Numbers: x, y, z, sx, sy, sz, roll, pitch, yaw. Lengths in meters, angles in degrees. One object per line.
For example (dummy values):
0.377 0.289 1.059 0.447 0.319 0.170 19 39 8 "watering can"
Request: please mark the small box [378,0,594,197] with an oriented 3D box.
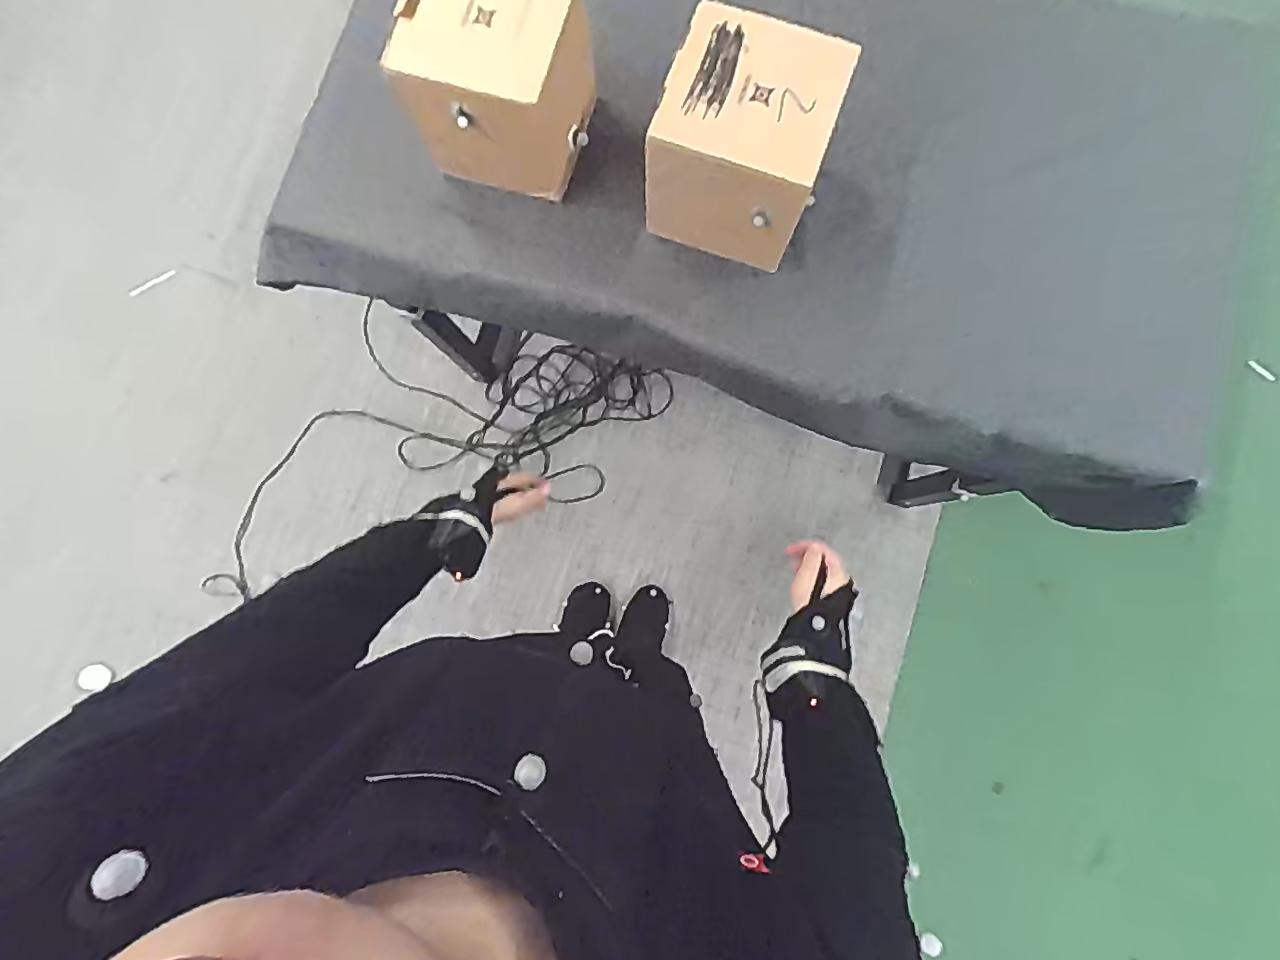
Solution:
-0.165 -0.472 0.642 0.179 0.176 0.168 17 84 3 "small box"
